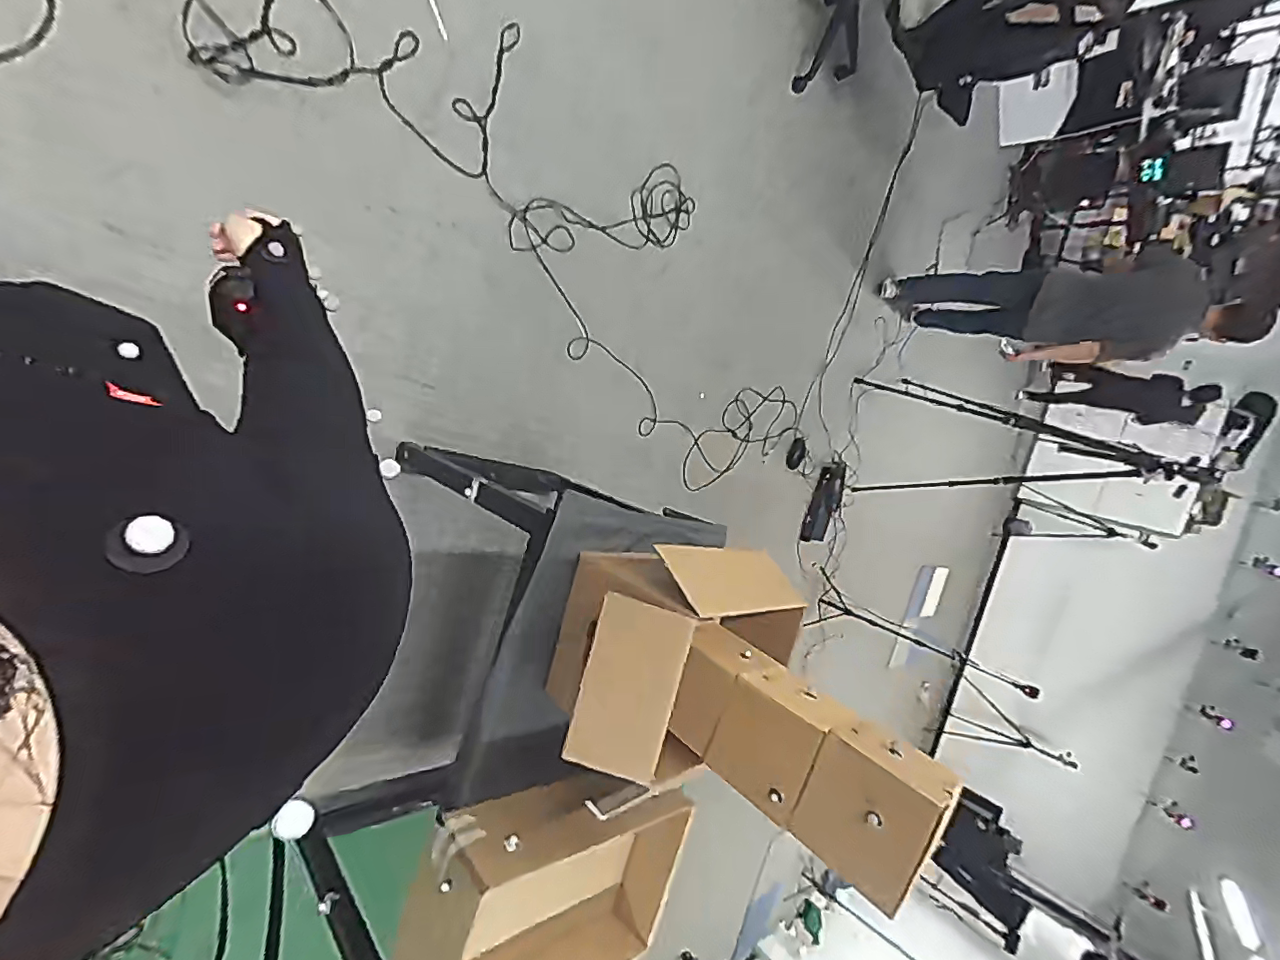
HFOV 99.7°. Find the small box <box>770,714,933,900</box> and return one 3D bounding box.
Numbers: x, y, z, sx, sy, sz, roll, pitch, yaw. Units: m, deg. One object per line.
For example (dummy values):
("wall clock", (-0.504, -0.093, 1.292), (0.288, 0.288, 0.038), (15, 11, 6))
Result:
("small box", (0.332, 0.494, 0.856), (0.168, 0.176, 0.179), (17, 97, -50))

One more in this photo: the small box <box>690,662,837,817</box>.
("small box", (0.215, 0.439, 0.957), (0.168, 0.176, 0.179), (15, 99, -50))
